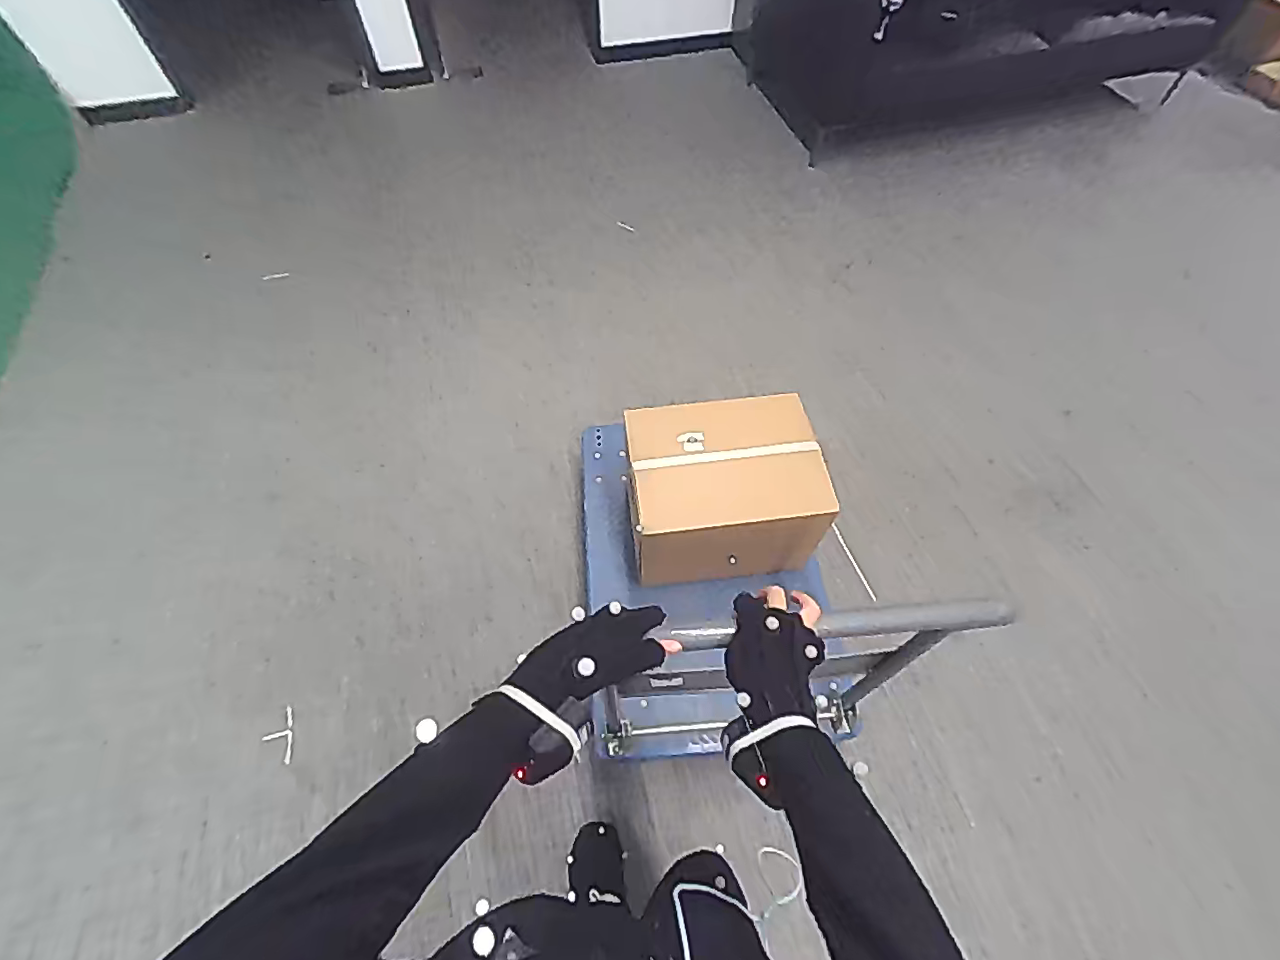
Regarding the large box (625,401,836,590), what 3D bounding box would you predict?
[{"bbox_3d":[0.185,0.045,1.284,0.408,0.320,0.320,-6,58,-4],"label":"large box"}]
